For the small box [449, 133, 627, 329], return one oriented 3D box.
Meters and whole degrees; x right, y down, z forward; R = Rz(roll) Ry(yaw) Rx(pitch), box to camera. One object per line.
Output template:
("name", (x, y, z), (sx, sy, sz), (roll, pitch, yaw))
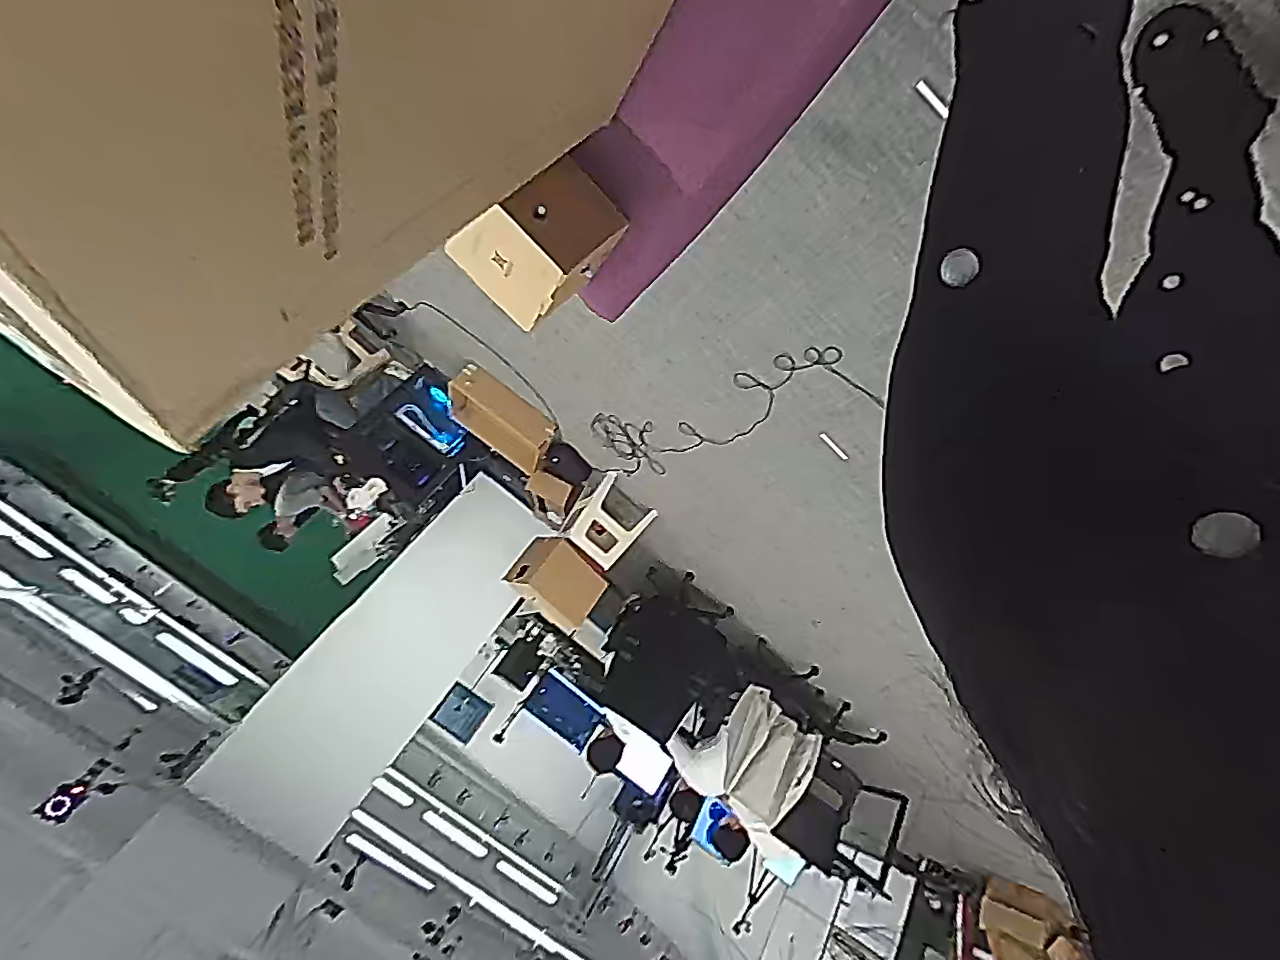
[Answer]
("small box", (-0.150, -0.371, 0.812), (0.179, 0.176, 0.168), (45, 148, -10))
